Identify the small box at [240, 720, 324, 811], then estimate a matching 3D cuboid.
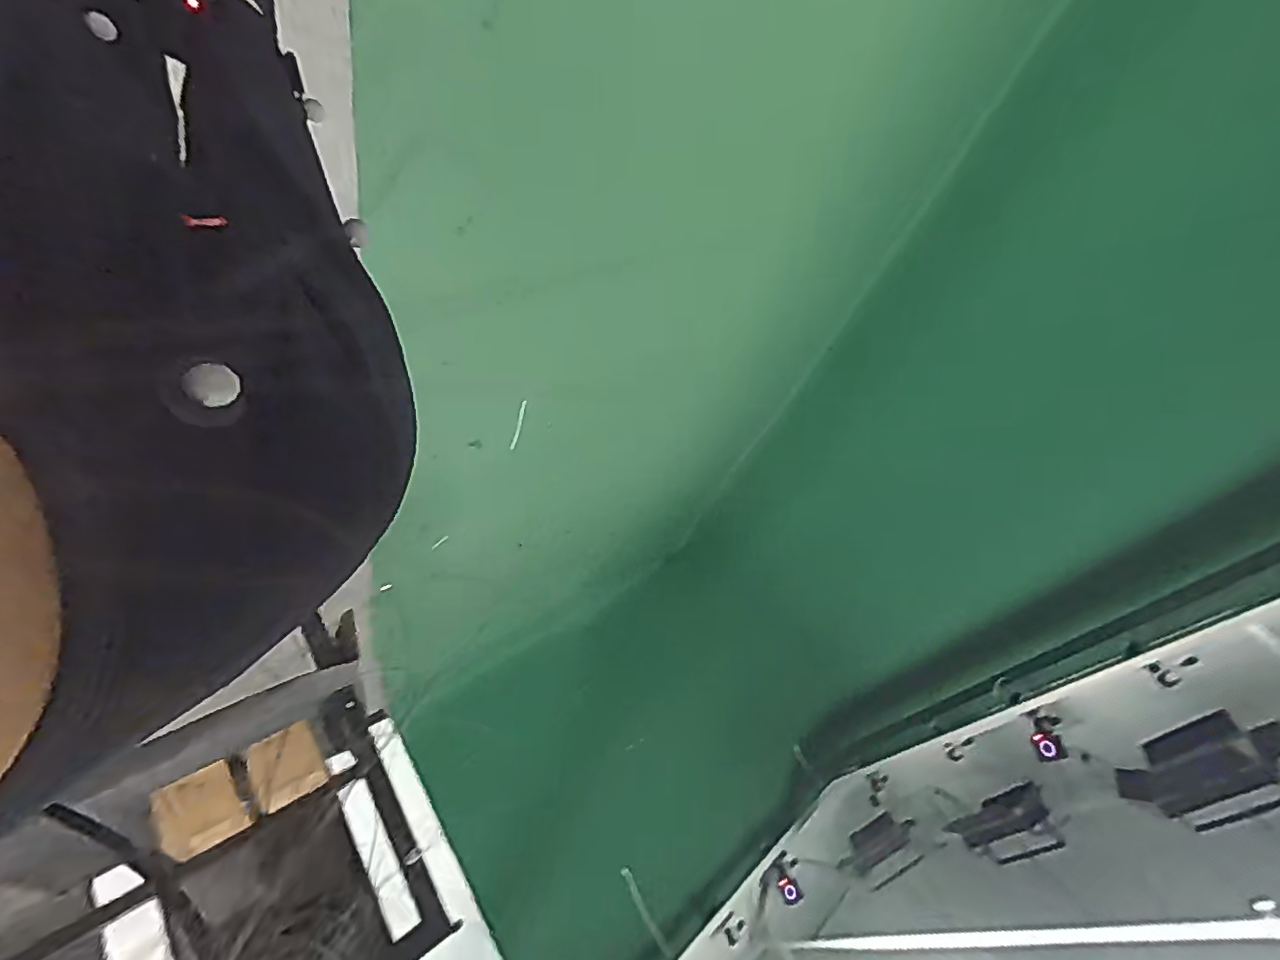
[{"bbox_3d":[-1.080,0.860,1.637,0.168,0.176,0.179,-21,152,-36],"label":"small box"}]
